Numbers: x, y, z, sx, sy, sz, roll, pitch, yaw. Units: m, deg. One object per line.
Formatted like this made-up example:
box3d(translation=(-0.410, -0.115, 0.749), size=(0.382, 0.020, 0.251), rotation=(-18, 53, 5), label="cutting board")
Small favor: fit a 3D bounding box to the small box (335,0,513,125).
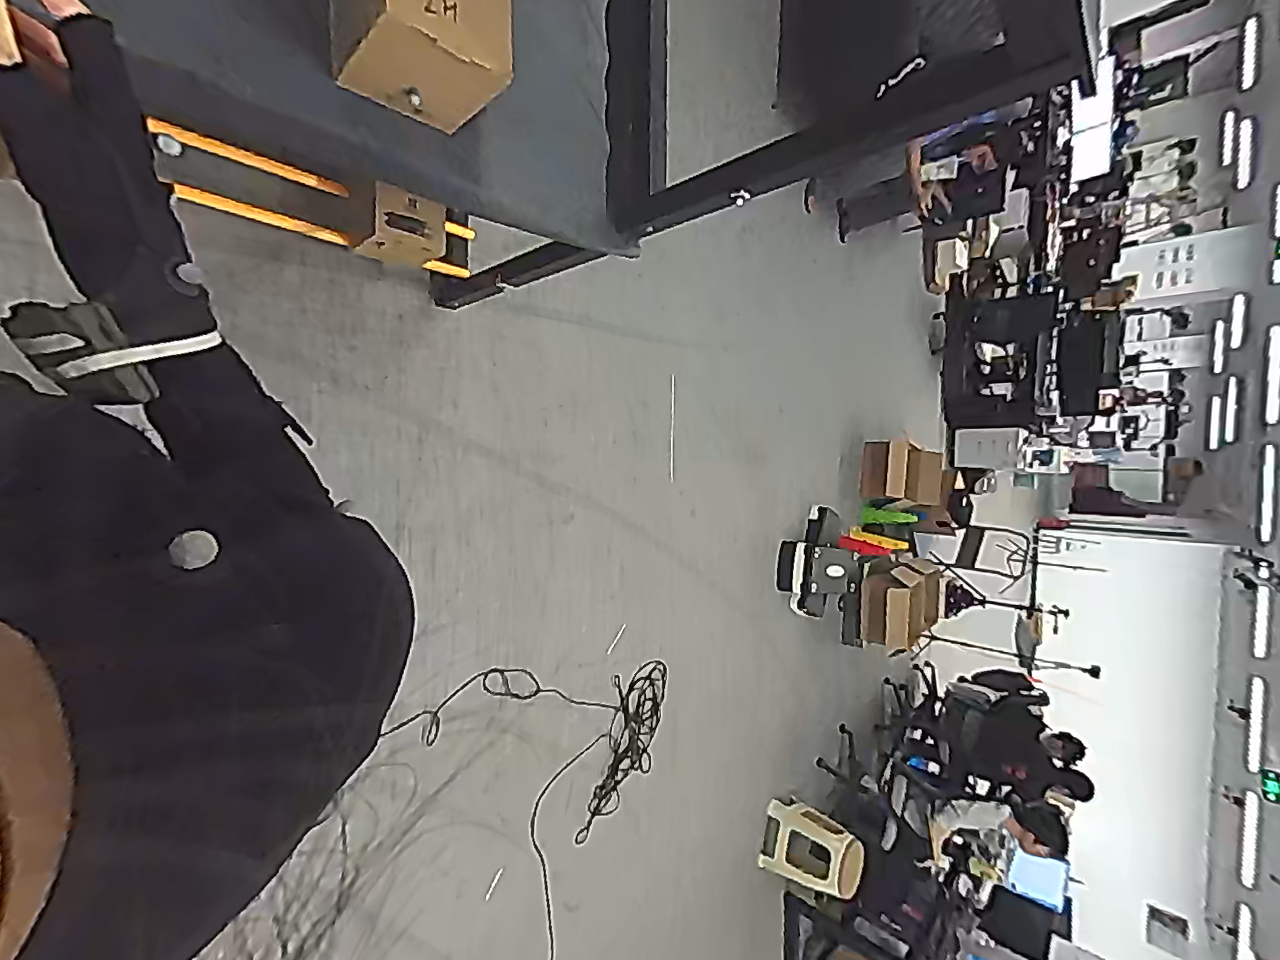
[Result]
box3d(translation=(-0.284, -0.616, 0.705), size=(0.168, 0.176, 0.179), rotation=(-5, 94, -46), label="small box")
